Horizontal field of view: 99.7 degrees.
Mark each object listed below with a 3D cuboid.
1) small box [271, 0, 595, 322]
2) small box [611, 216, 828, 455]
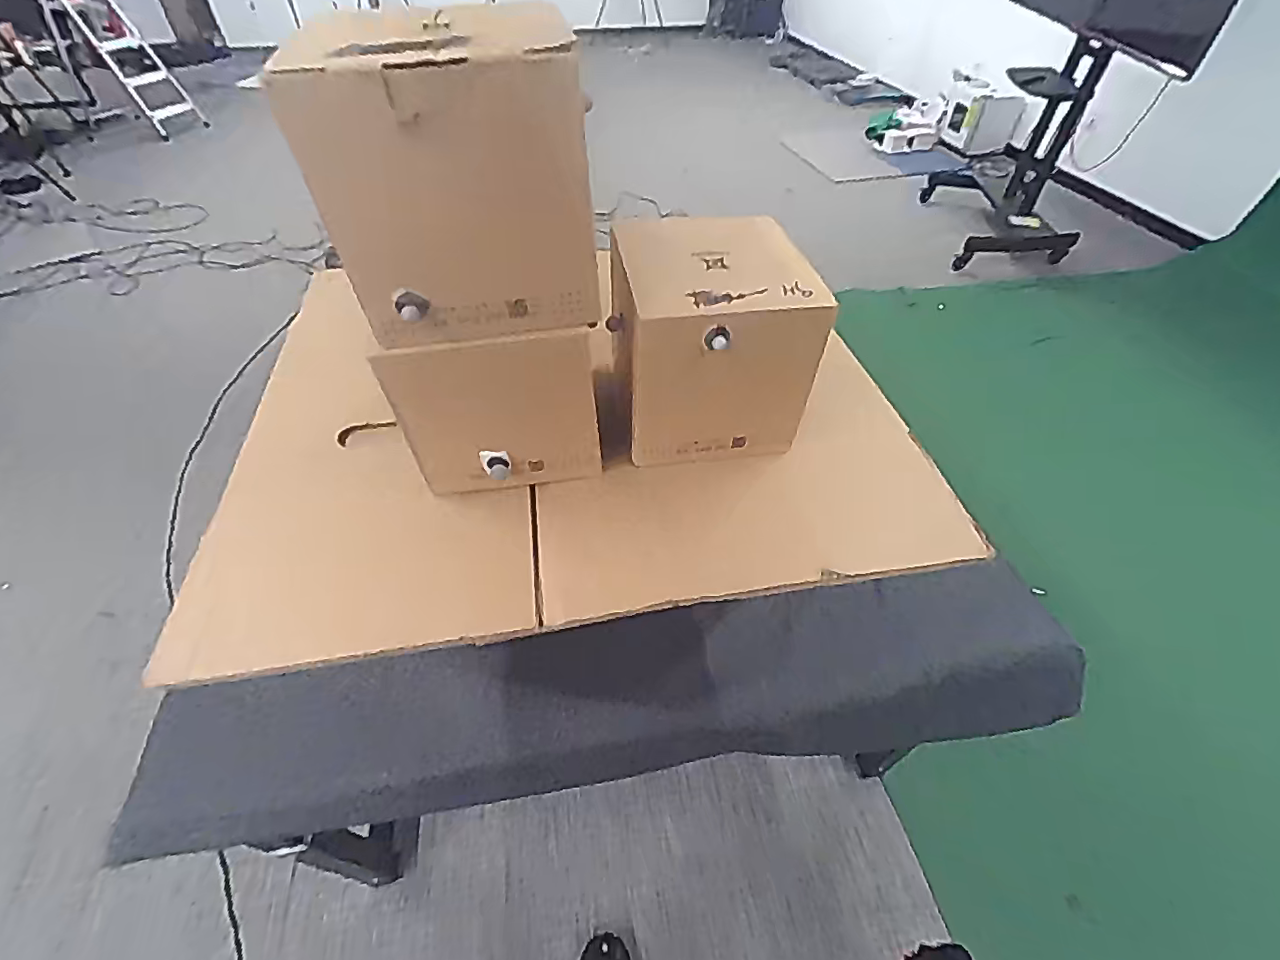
[{"bbox_3d":[-0.130,-0.233,0.408,0.168,0.176,0.179,-9,48,-6],"label":"small box"},{"bbox_3d":[0.060,-0.148,0.549,0.168,0.176,0.179,-6,48,-7],"label":"small box"}]
